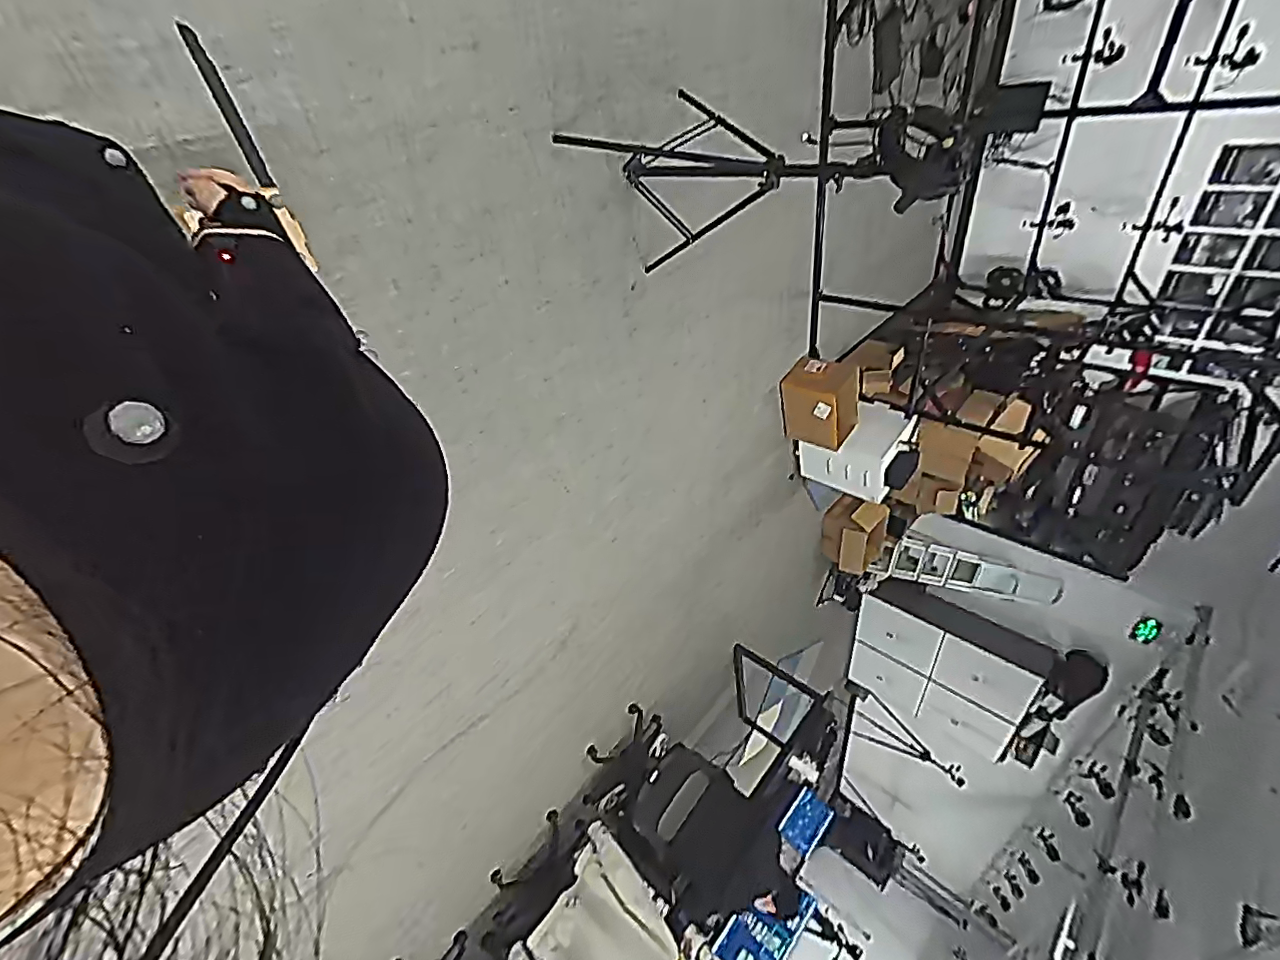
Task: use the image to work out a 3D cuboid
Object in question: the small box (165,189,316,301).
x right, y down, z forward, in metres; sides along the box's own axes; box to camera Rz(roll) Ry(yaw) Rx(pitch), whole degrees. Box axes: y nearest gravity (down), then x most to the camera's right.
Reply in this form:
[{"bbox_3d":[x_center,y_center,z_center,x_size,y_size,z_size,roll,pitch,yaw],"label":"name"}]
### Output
[{"bbox_3d":[-0.828,-0.494,1.123,0.179,0.176,0.168,-40,137,-31],"label":"small box"}]
